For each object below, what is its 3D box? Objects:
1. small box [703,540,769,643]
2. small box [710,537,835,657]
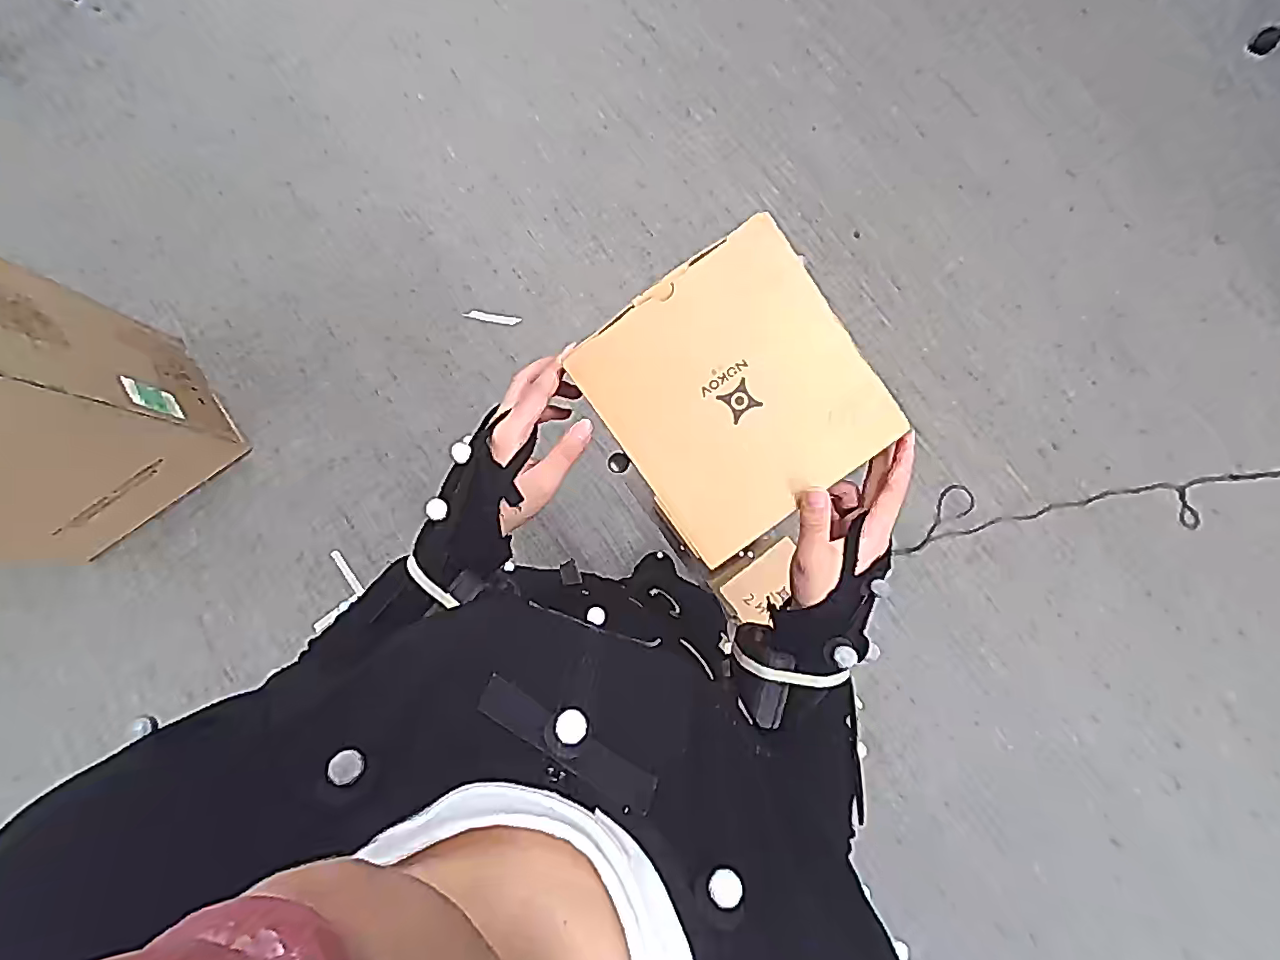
[{"bbox_3d":[0.267,0.258,1.288,0.179,0.176,0.168,-35,82,-3],"label":"small box"},{"bbox_3d":[0.263,0.236,1.125,0.179,0.176,0.168,-37,82,-3],"label":"small box"}]
